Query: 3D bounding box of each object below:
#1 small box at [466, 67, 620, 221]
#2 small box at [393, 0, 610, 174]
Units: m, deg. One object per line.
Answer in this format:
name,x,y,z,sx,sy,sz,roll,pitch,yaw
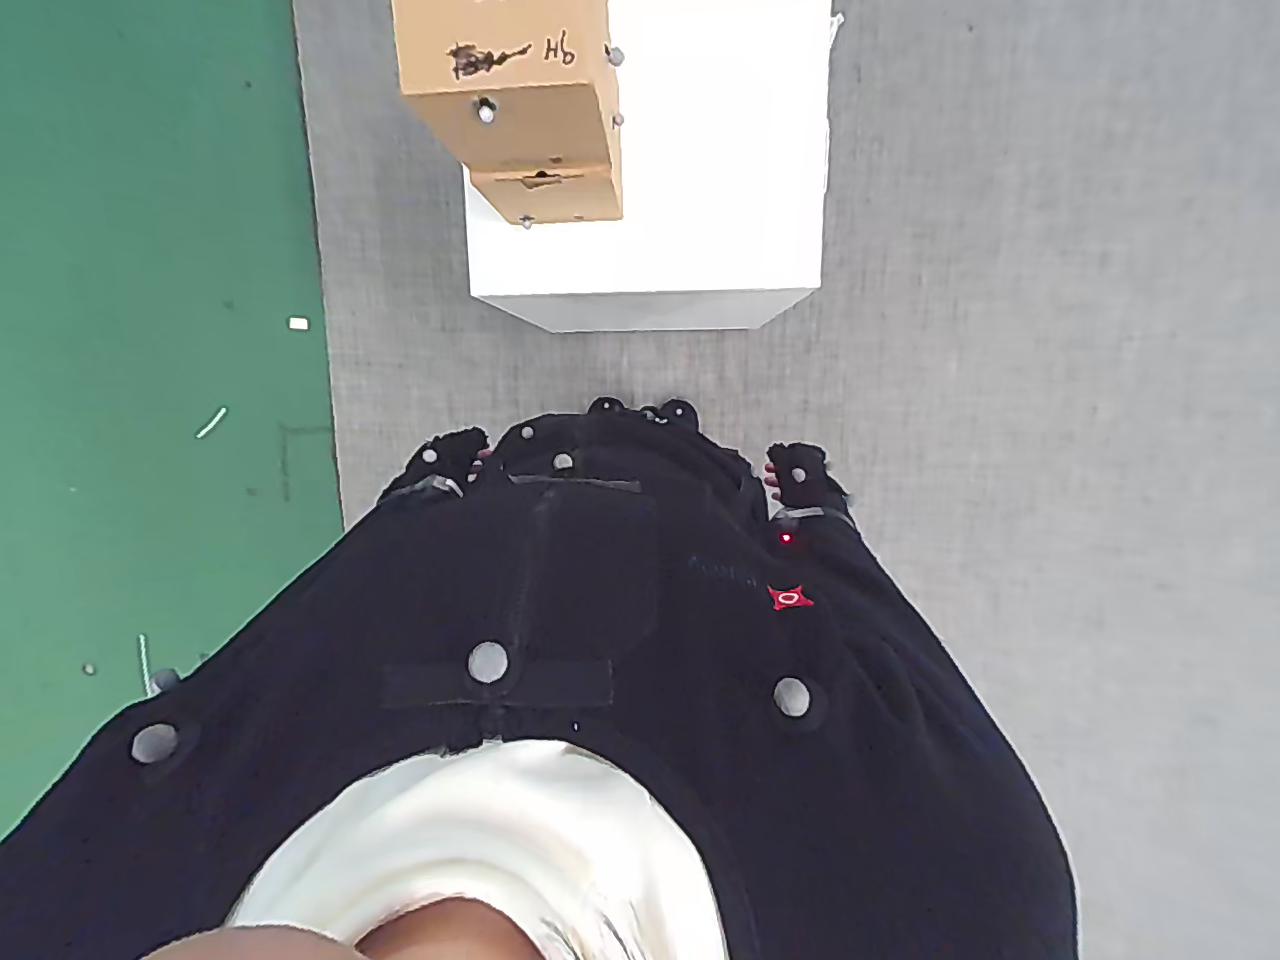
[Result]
small box,-0.115,-0.441,0.684,0.168,0.176,0.179,-1,99,3
small box,-0.120,-0.425,0.522,0.168,0.176,0.179,-1,99,4
